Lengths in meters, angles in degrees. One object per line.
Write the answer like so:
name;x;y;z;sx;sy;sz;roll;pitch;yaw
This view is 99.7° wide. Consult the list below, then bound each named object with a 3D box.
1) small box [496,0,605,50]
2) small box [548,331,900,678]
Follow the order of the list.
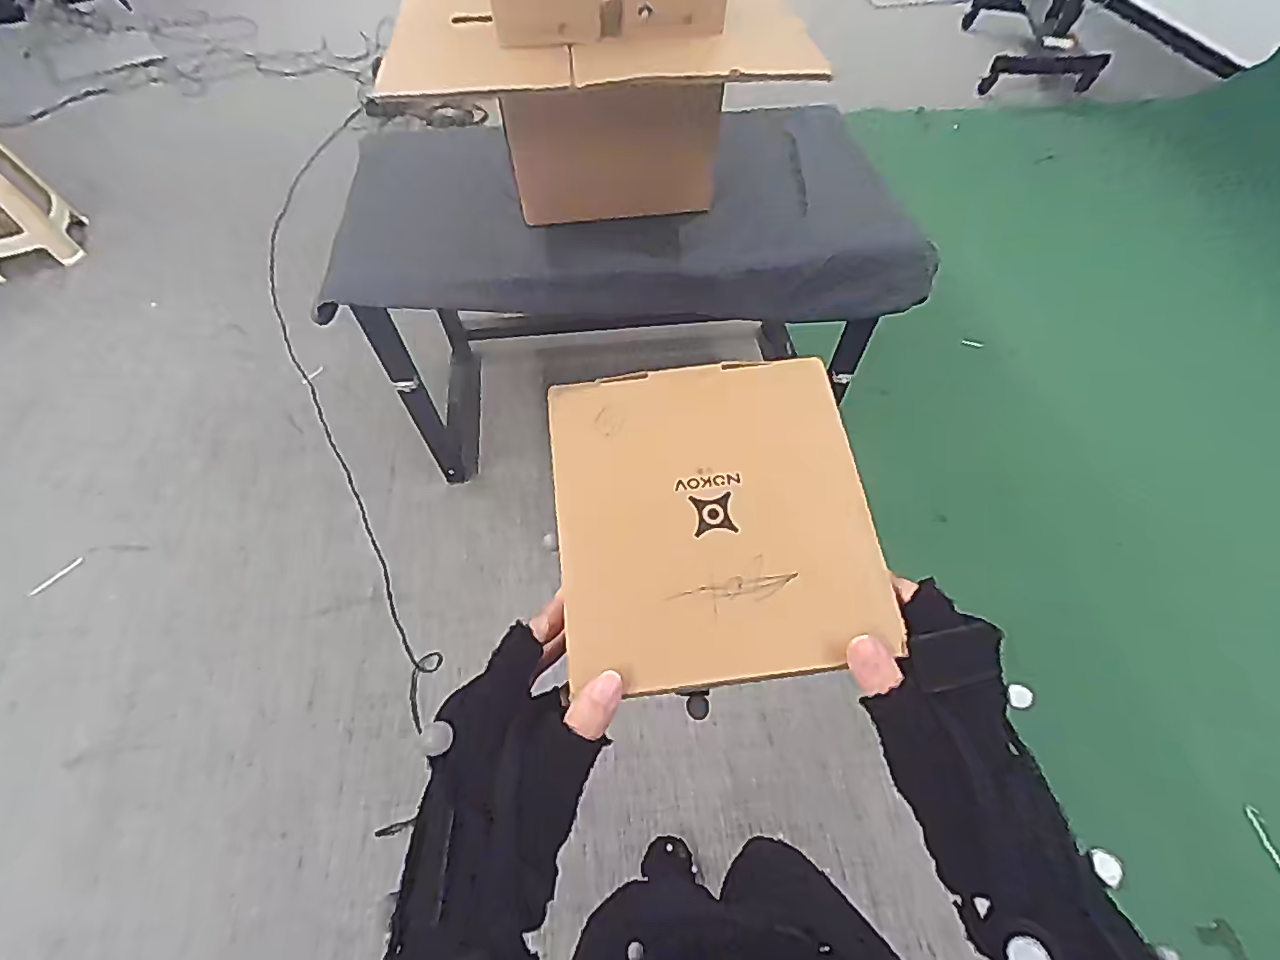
small box;-0.146;-0.814;0.853;0.168;0.176;0.179;-6;58;-2
small box;0.034;0.028;0.359;0.168;0.176;0.179;-6;68;-3
